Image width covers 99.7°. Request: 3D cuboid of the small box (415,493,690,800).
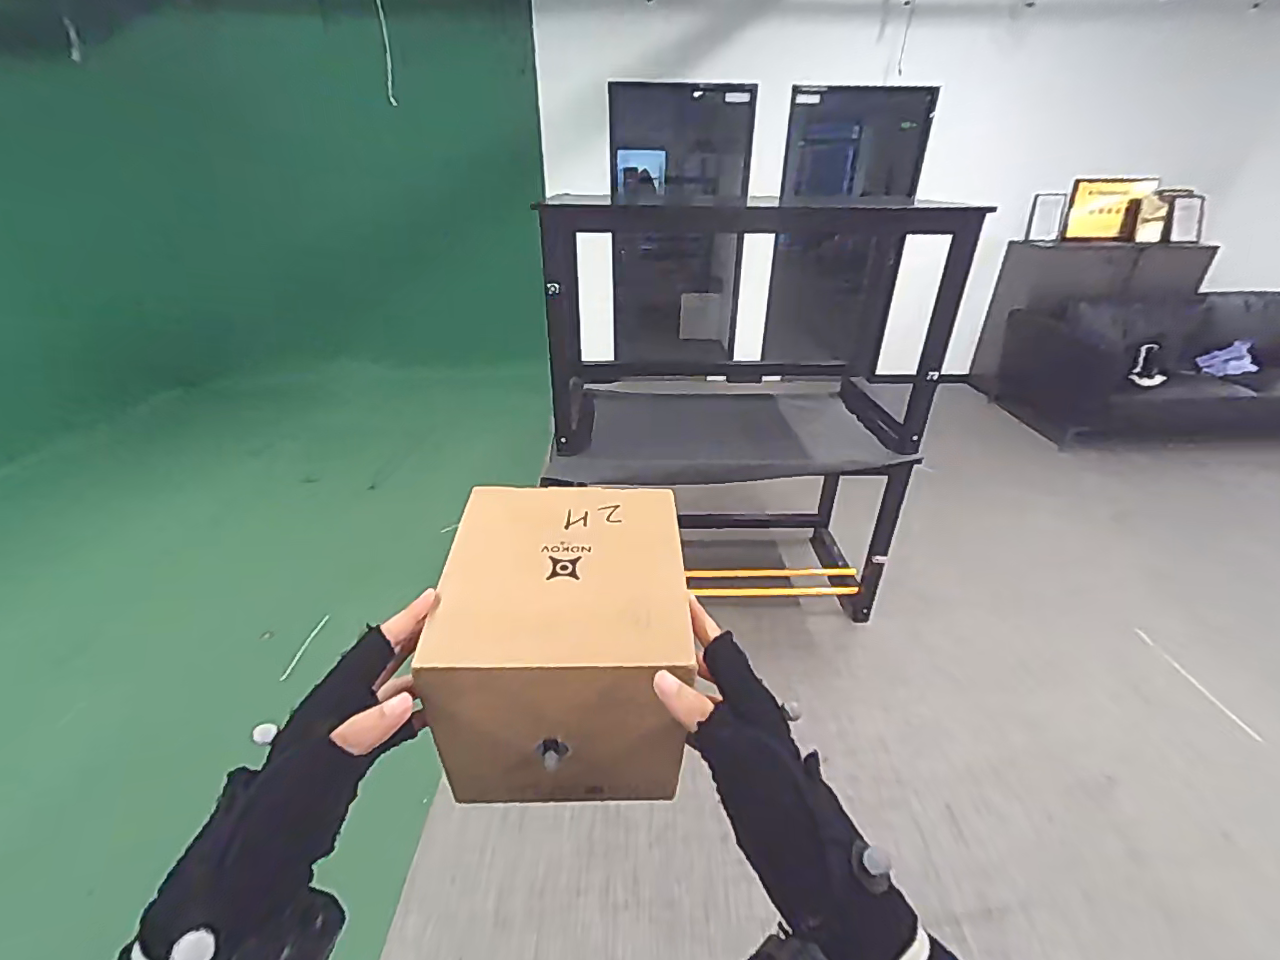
[{"bbox_3d":[-0.054,0.128,0.427,0.168,0.176,0.179,1,34,-3],"label":"small box"}]
